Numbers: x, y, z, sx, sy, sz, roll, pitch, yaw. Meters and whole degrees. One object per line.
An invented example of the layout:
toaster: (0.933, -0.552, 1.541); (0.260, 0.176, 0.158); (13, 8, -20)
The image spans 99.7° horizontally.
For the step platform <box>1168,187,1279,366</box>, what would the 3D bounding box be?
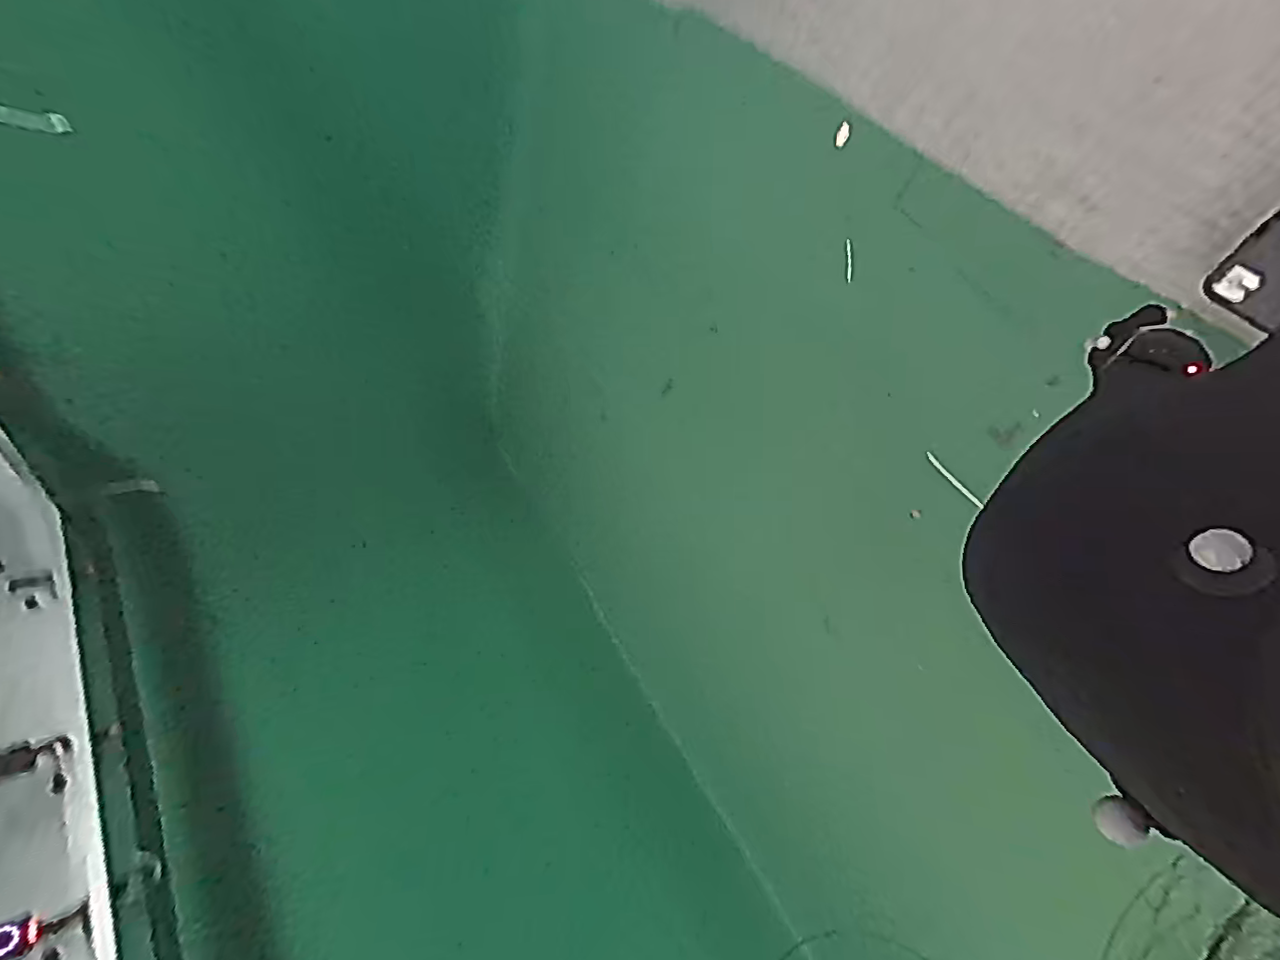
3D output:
step platform: (1.204, -0.188, 0.772); (0.684, 0.204, 0.286); (51, 139, 25)
